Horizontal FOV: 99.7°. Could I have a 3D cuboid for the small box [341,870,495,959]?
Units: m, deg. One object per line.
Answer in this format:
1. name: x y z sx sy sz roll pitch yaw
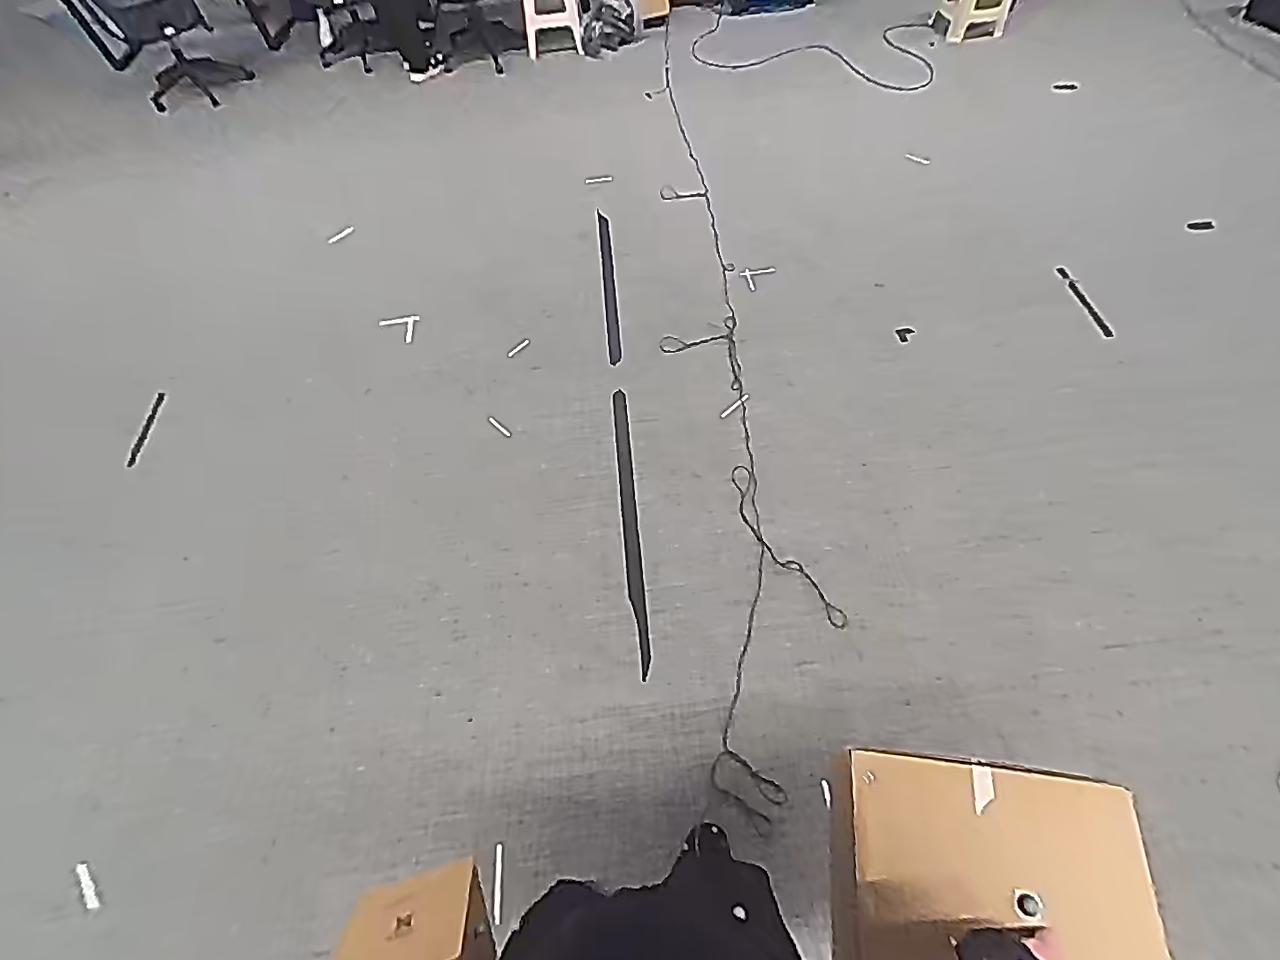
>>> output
1. small box: -0.285 0.672 0.703 0.168 0.179 0.176 -12 91 -11
